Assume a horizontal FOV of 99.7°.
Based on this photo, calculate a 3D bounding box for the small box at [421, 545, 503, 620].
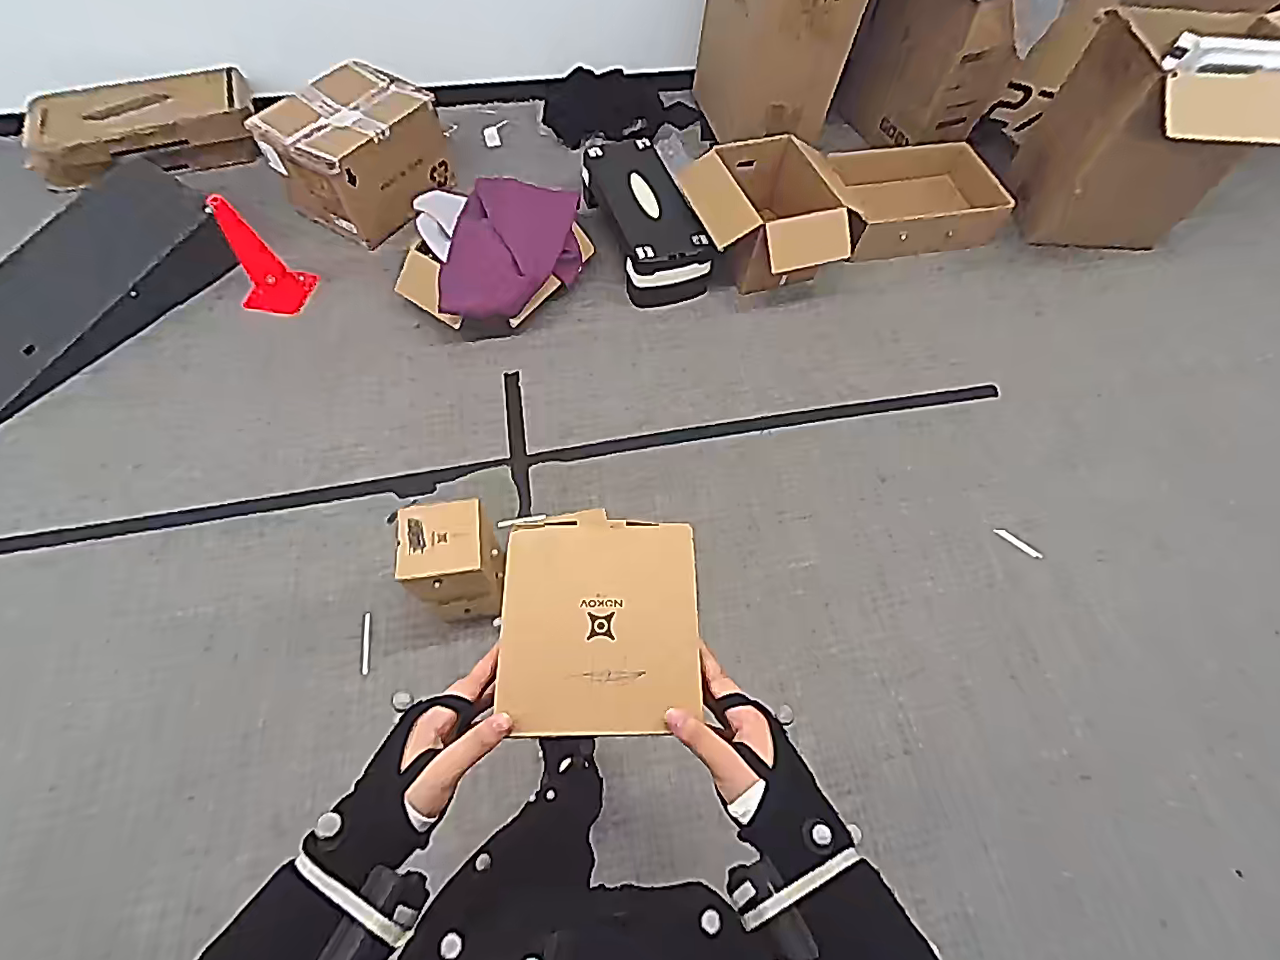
[{"bbox_3d":[-0.440,0.246,1.359,0.168,0.176,0.179,-7,64,-6],"label":"small box"}]

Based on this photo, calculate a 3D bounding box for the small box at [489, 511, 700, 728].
[{"bbox_3d":[-0.039,0.141,0.520,0.168,0.176,0.179,1,66,-3],"label":"small box"}]

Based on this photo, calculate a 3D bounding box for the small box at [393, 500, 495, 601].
[{"bbox_3d":[-0.432,0.163,1.215,0.179,0.176,0.168,-7,63,-7],"label":"small box"}]
